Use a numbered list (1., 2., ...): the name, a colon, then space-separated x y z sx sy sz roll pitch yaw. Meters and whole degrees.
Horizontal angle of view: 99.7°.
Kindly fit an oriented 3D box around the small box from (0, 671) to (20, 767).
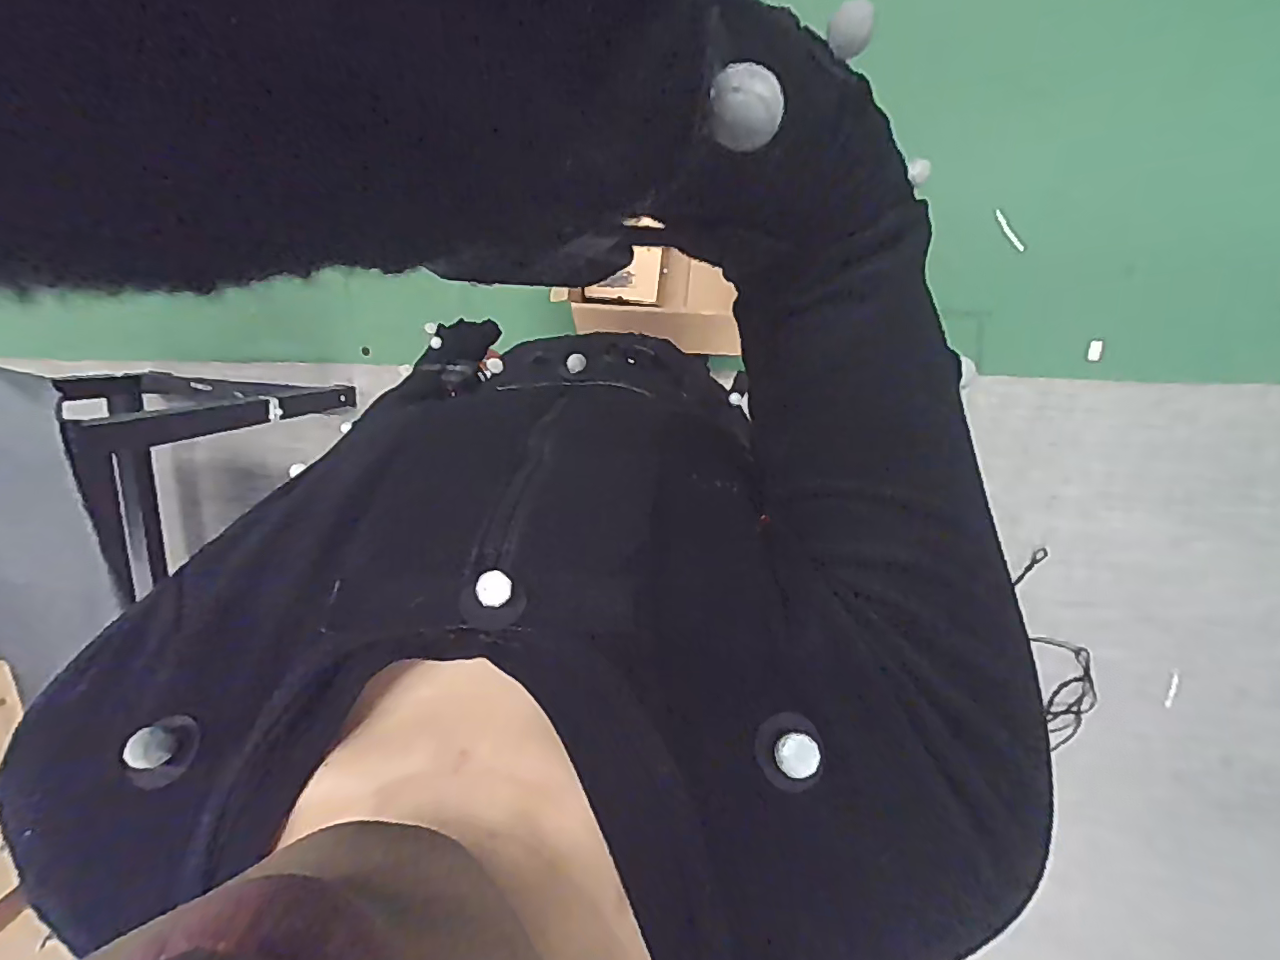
1. small box: -1.093 0.388 0.800 0.179 0.176 0.168 1 104 3
